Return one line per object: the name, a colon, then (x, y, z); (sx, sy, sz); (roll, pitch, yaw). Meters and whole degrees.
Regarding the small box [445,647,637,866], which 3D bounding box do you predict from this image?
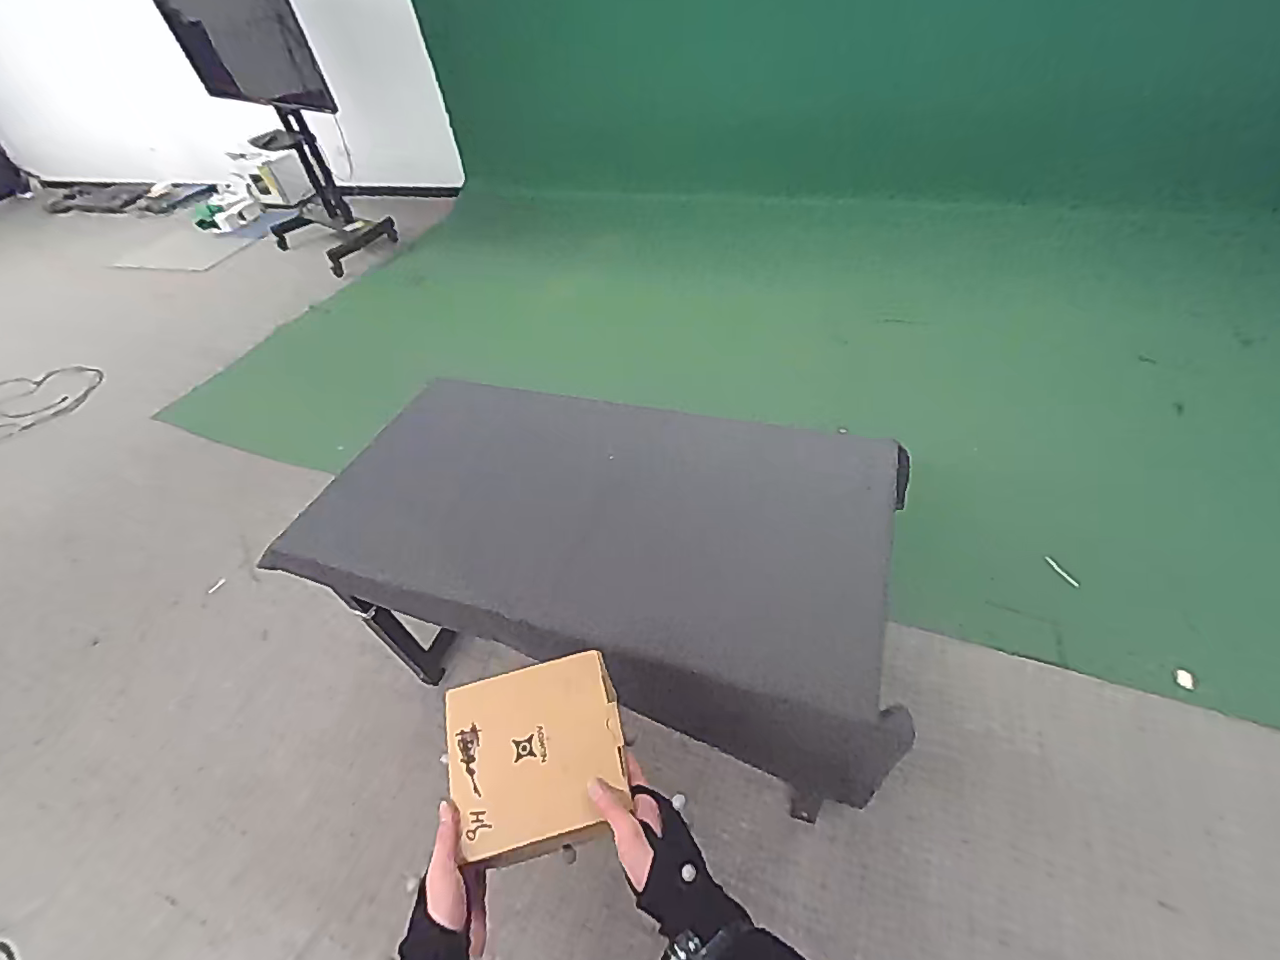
small box: (-0.105, 0.312, 0.606); (0.179, 0.176, 0.168); (-12, 53, -8)
